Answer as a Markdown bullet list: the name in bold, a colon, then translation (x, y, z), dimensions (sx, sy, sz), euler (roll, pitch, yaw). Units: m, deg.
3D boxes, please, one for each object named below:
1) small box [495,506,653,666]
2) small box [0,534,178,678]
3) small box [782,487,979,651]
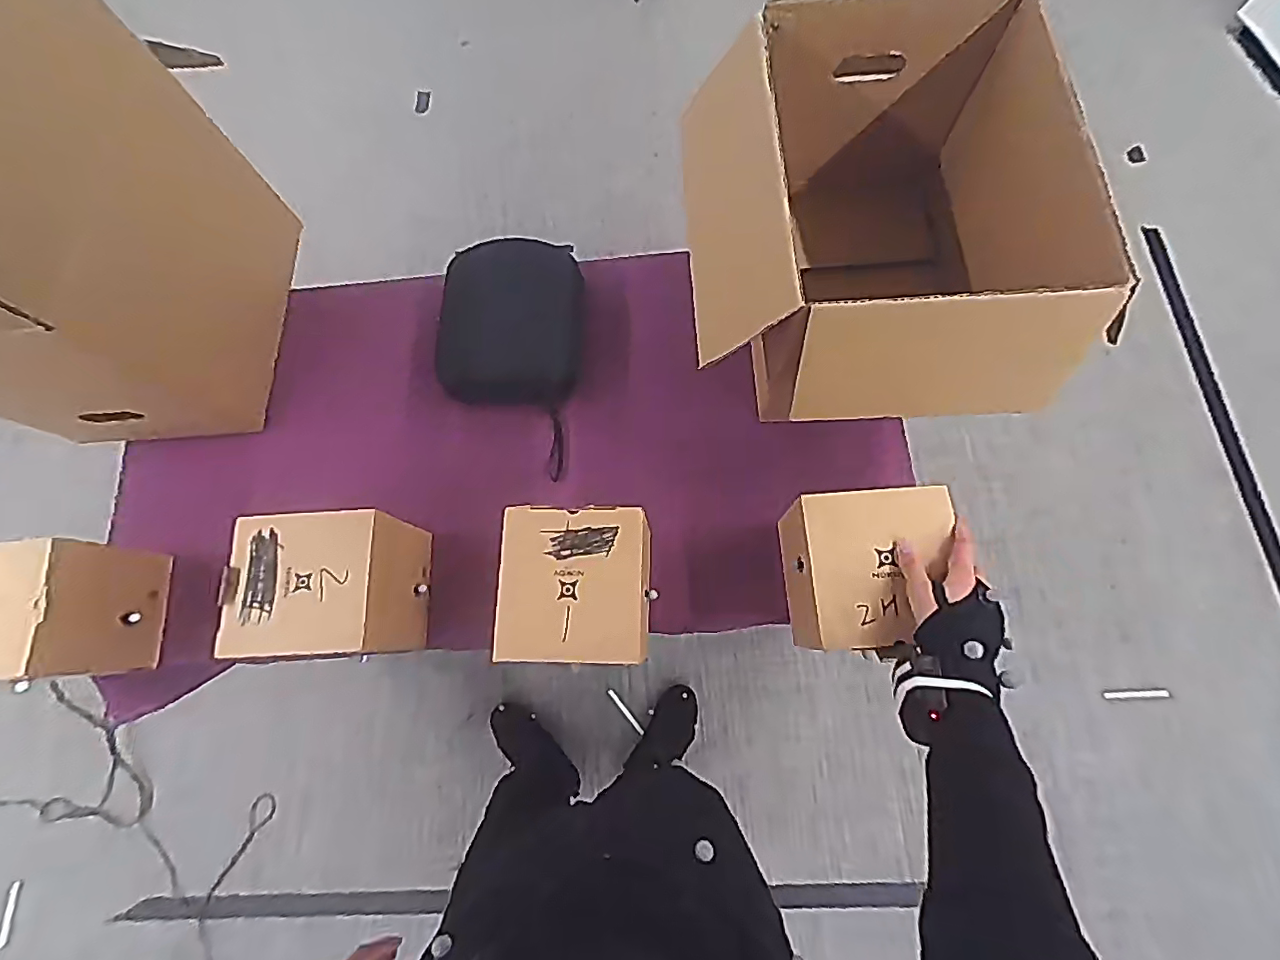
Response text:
- **small box**: translation (-0.071, 0.137, 0.689), dimensions (0.168, 0.176, 0.179), euler (0, 75, 4)
- **small box**: translation (-0.787, 0.175, 0.727), dimensions (0.179, 0.176, 0.168), euler (-6, 74, 1)
- **small box**: translation (0.277, 0.117, 0.670), dimensions (0.168, 0.176, 0.179), euler (-4, 75, 4)
